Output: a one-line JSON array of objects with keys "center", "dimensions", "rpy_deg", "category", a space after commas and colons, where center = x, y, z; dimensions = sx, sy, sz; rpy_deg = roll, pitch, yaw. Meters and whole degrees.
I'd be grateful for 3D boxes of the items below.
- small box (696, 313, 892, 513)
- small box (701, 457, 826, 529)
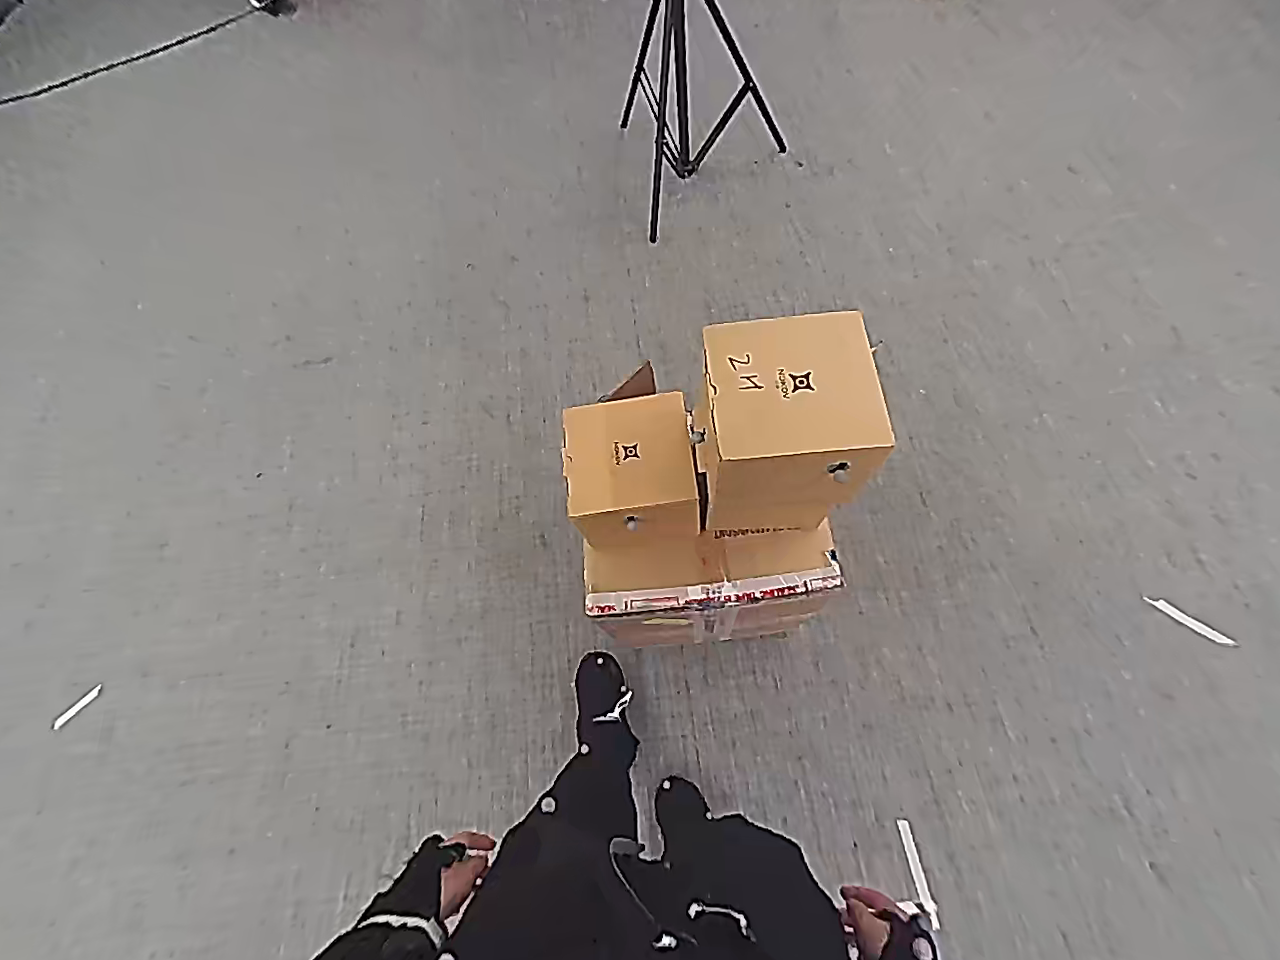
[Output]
[{"center": [0.161, -0.069, 0.631], "dimensions": [0.179, 0.176, 0.168], "rpy_deg": [-5, 67, 3], "category": "small box"}, {"center": [0.178, -0.029, 0.792], "dimensions": [0.179, 0.176, 0.168], "rpy_deg": [-2, 68, 4], "category": "small box"}]
